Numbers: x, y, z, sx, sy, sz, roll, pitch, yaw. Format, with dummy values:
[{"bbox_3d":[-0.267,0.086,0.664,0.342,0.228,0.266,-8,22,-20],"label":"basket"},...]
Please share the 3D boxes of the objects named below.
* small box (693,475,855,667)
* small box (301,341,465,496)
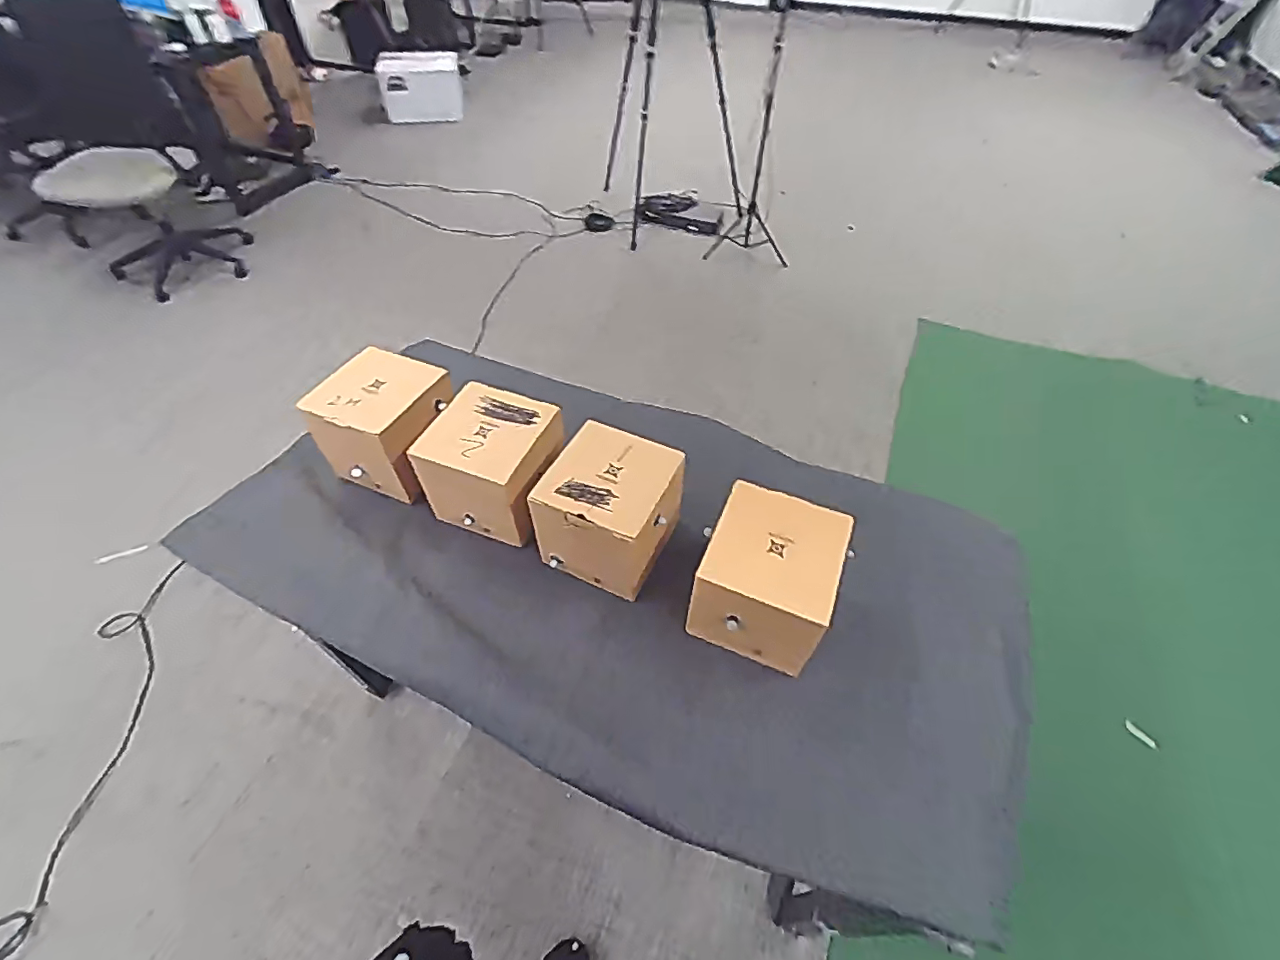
[{"bbox_3d":[0.179,0.130,0.752,0.168,0.176,0.179,19,52,15],"label":"small box"},{"bbox_3d":[-0.425,-0.106,0.934,0.168,0.176,0.179,19,53,14],"label":"small box"}]
